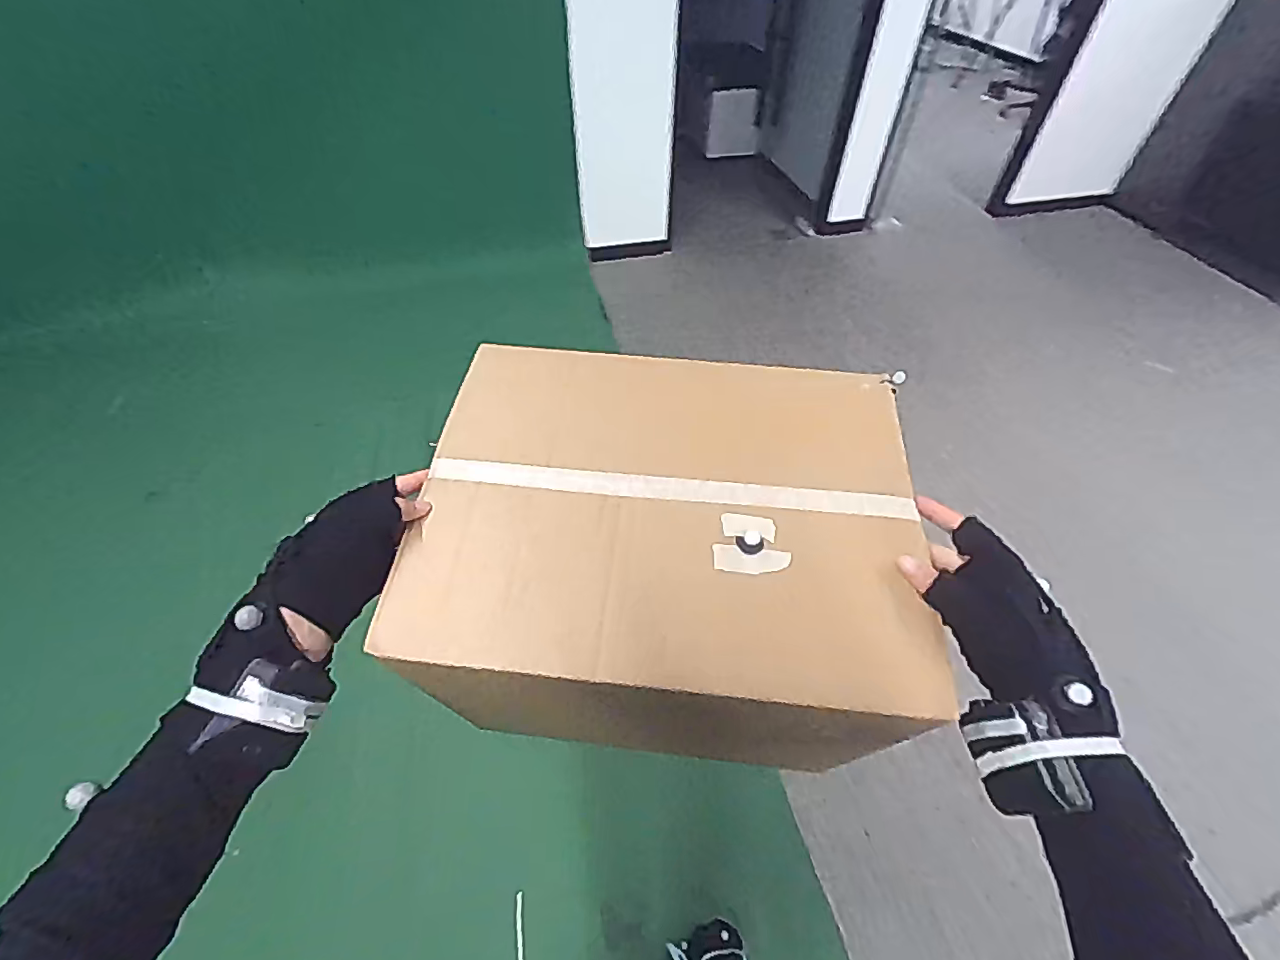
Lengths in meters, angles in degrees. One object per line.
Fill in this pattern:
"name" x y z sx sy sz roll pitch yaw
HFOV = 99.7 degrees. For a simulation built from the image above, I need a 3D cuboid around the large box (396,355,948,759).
"large box" 0.031 0.094 0.586 0.408 0.320 0.320 6 57 4
